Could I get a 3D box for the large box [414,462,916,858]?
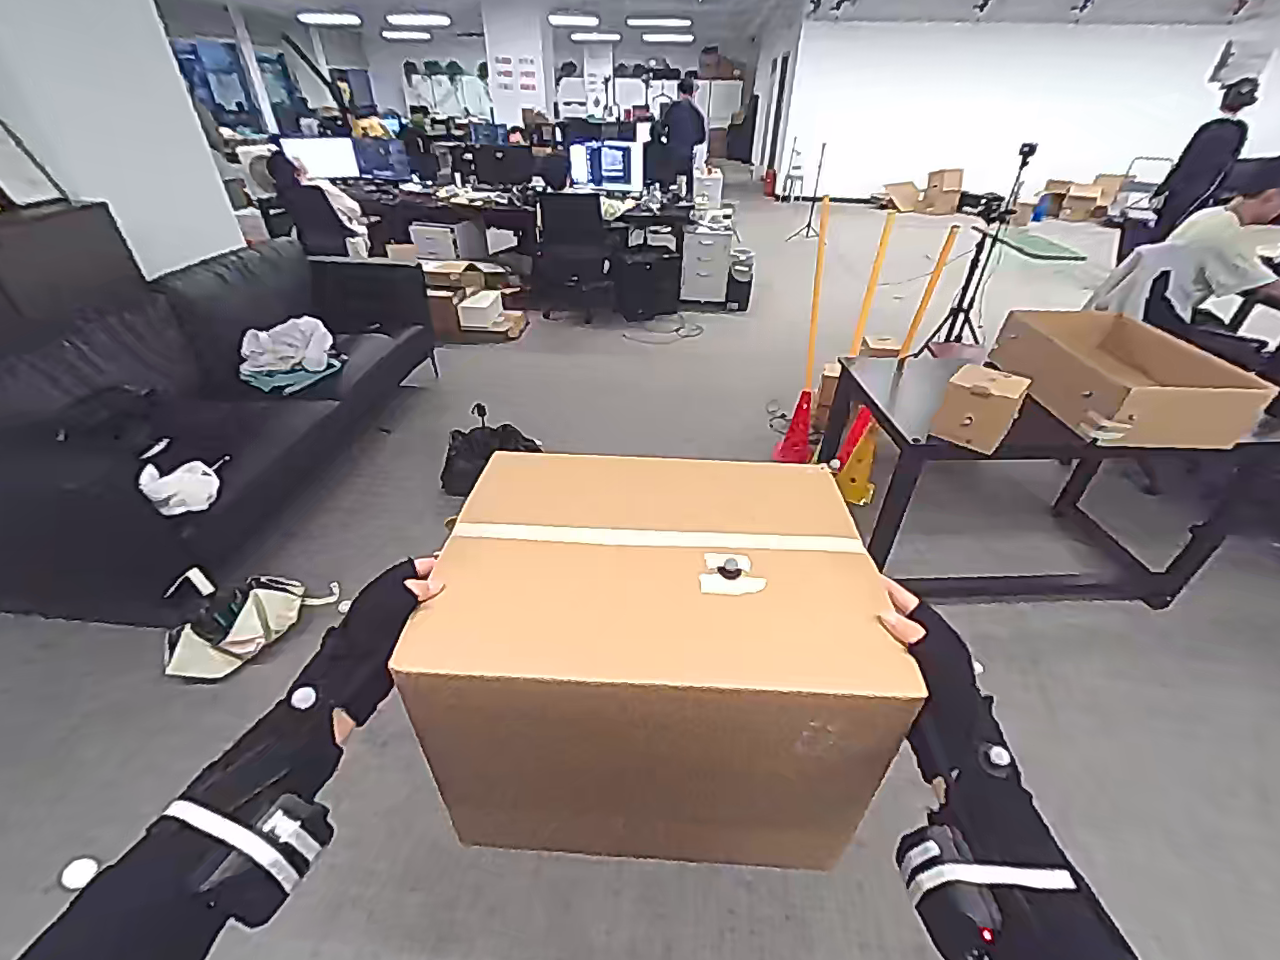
[{"bbox_3d":[0.017,0.194,0.624,0.408,0.320,0.320,3,35,1],"label":"large box"}]
